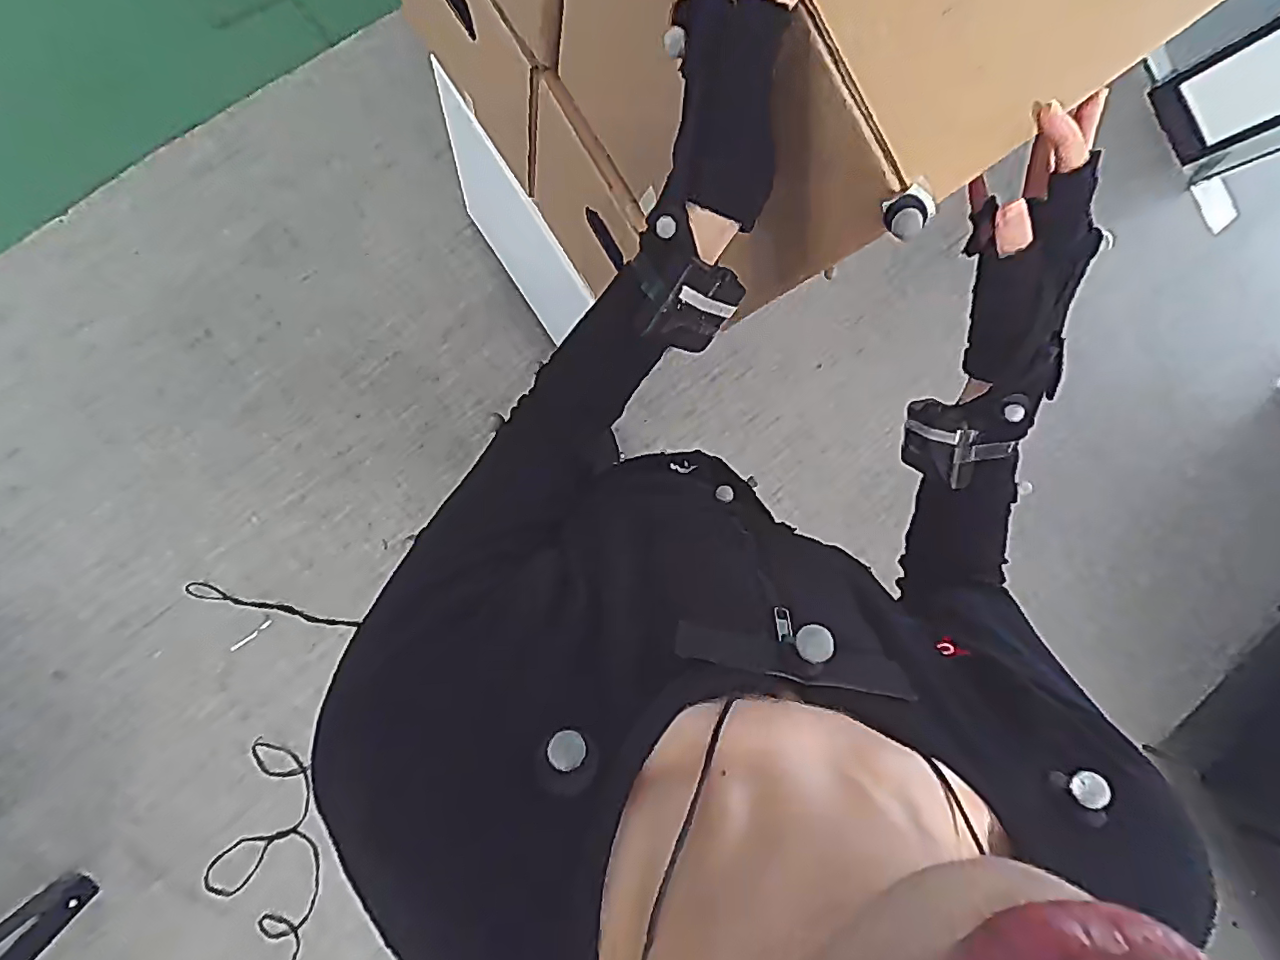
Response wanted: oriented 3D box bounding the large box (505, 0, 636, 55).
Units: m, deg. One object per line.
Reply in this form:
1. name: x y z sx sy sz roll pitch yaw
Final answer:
1. large box: -0.008 -0.654 0.399 0.408 0.320 0.320 -40 100 -8
